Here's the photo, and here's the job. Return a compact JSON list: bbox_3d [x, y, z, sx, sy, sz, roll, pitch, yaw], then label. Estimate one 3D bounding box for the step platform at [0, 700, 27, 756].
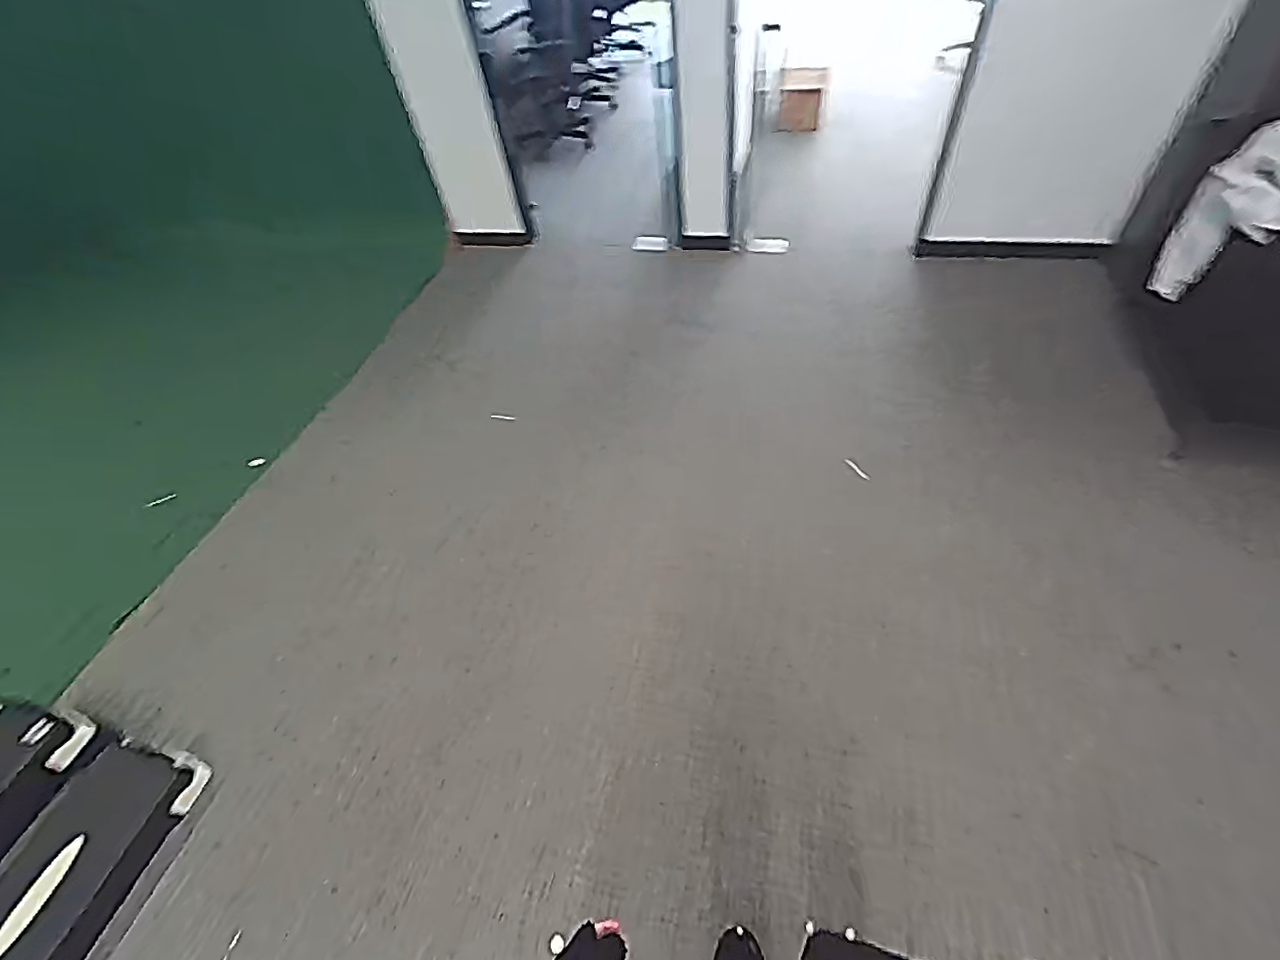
[{"bbox_3d":[-1.765,0.778,1.151,0.286,0.204,0.684,9,53,14],"label":"step platform"}]
